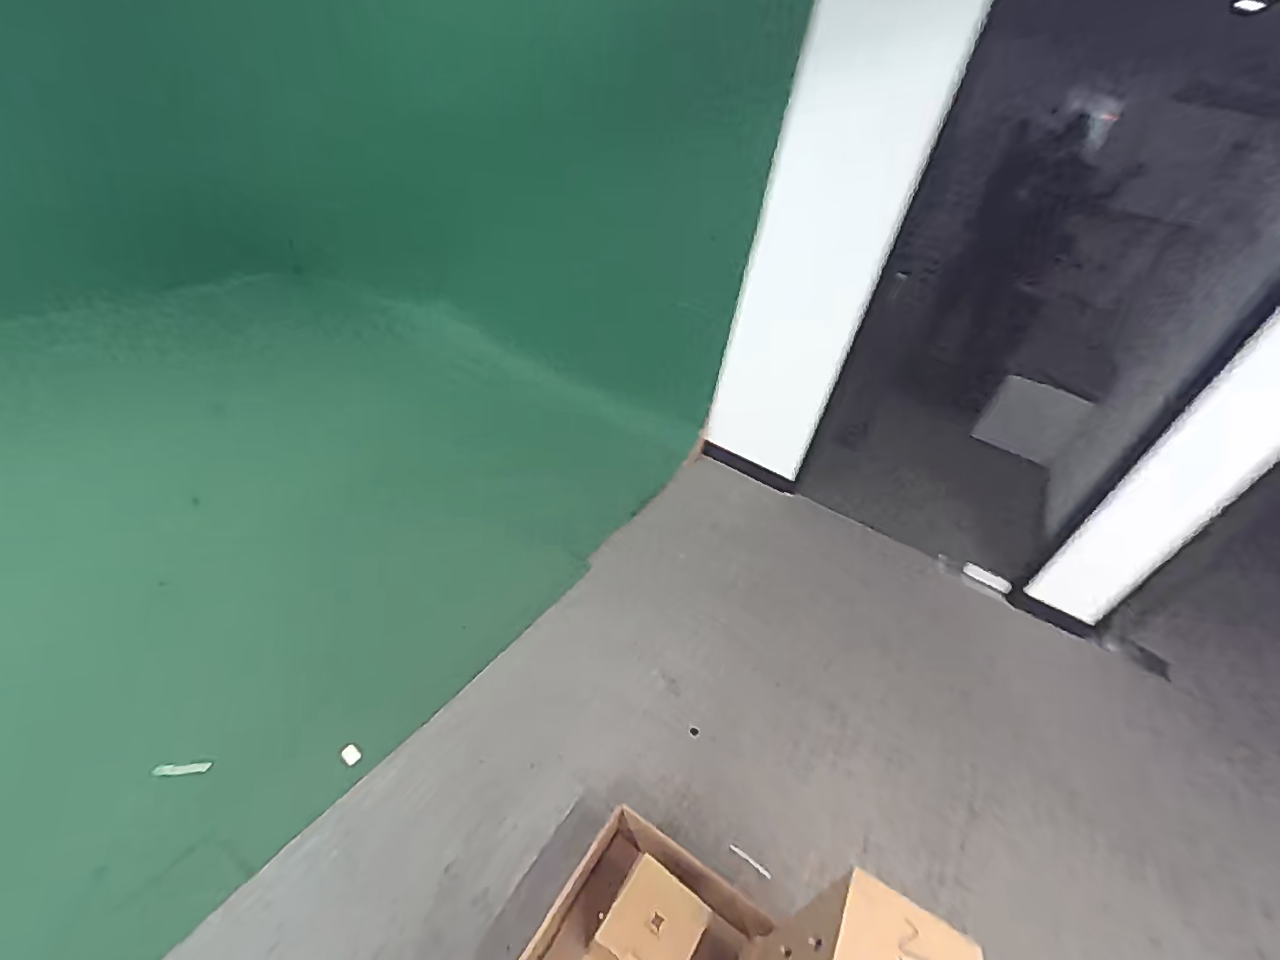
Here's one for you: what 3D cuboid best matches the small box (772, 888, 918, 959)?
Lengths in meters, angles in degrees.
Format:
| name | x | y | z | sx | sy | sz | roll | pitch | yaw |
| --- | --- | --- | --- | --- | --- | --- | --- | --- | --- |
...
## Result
| name | x | y | z | sx | sy | sz | roll | pitch | yaw |
| --- | --- | --- | --- | --- | --- | --- | --- | --- | --- |
| small box | 0.290 | 0.769 | 0.802 | 0.168 | 0.176 | 0.179 | 28 | 43 | 21 |

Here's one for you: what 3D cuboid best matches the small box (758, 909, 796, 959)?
| name | x | y | z | sx | sy | sz | roll | pitch | yaw |
| --- | --- | --- | --- | --- | --- | --- | --- | --- | --- |
| small box | 0.276 | 0.879 | 0.899 | 0.168 | 0.176 | 0.179 | 27 | 42 | 21 |

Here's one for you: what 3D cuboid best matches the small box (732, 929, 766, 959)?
| name | x | y | z | sx | sy | sz | roll | pitch | yaw |
| --- | --- | --- | --- | --- | --- | --- | --- | --- | --- |
| small box | 0.241 | 1.012 | 1.018 | 0.168 | 0.176 | 0.179 | 23 | 41 | 19 |
